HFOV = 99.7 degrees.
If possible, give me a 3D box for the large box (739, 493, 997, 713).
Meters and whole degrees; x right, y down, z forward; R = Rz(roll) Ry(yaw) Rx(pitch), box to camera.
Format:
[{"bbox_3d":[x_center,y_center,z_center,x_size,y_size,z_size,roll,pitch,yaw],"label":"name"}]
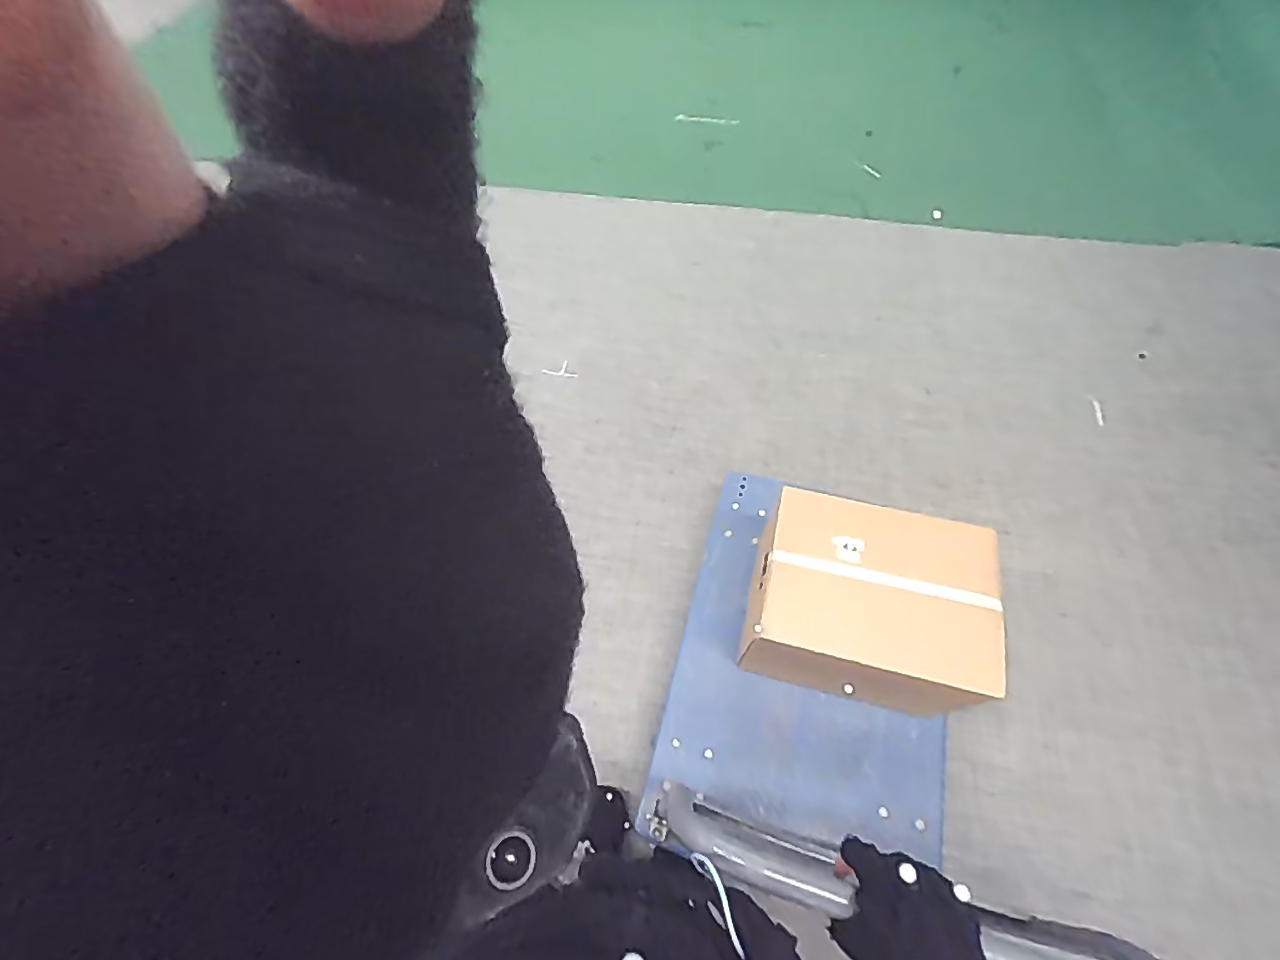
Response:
[{"bbox_3d":[0.444,0.264,1.123,0.408,0.320,0.320,12,61,9],"label":"large box"}]
